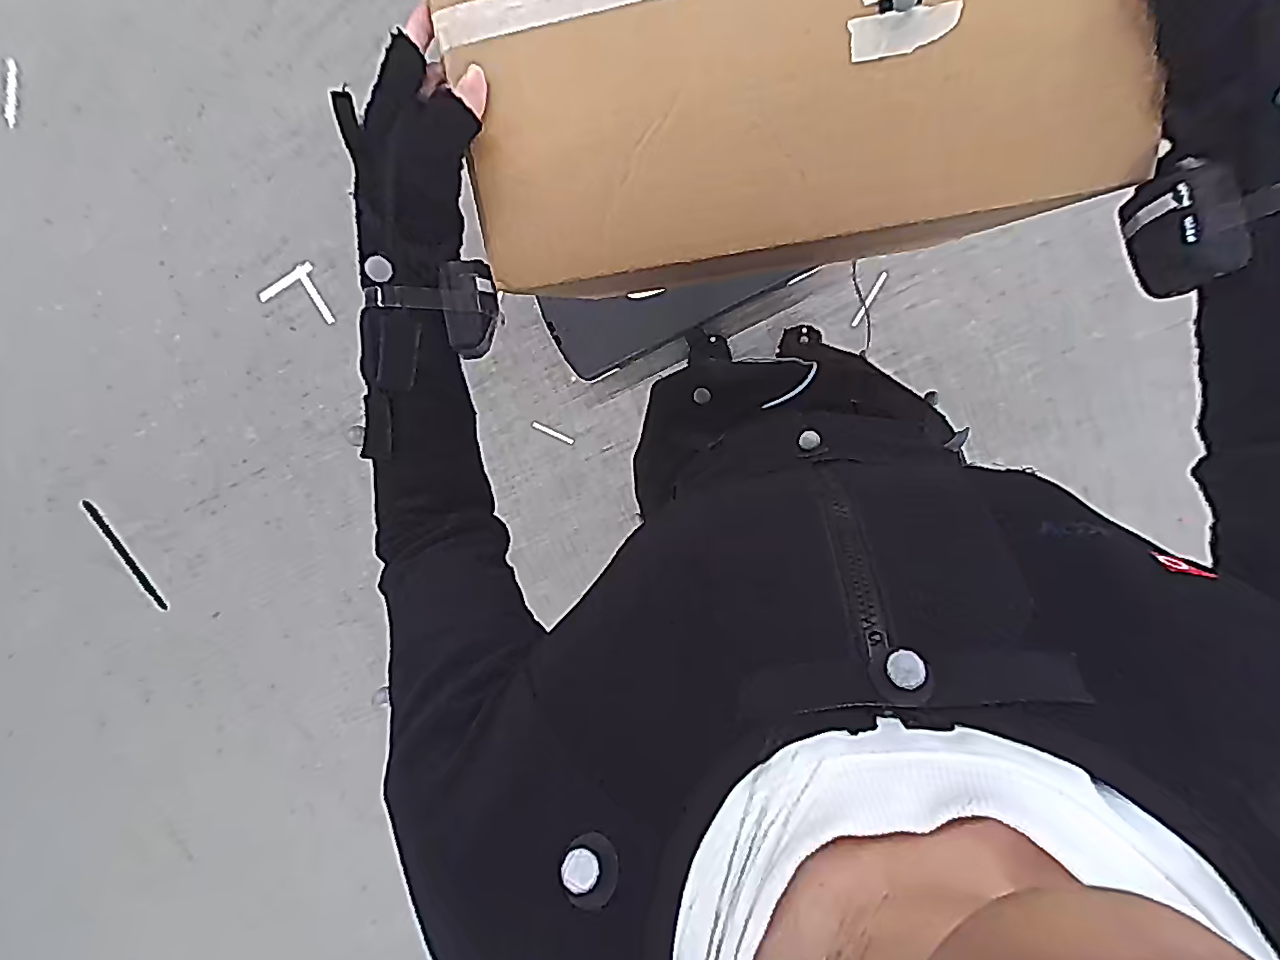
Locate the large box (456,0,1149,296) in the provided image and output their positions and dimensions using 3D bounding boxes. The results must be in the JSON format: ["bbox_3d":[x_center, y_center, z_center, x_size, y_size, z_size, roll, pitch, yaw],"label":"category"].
[{"bbox_3d":[0.095,-0.353,0.456,0.408,0.320,0.320,-6,107,9],"label":"large box"}]
